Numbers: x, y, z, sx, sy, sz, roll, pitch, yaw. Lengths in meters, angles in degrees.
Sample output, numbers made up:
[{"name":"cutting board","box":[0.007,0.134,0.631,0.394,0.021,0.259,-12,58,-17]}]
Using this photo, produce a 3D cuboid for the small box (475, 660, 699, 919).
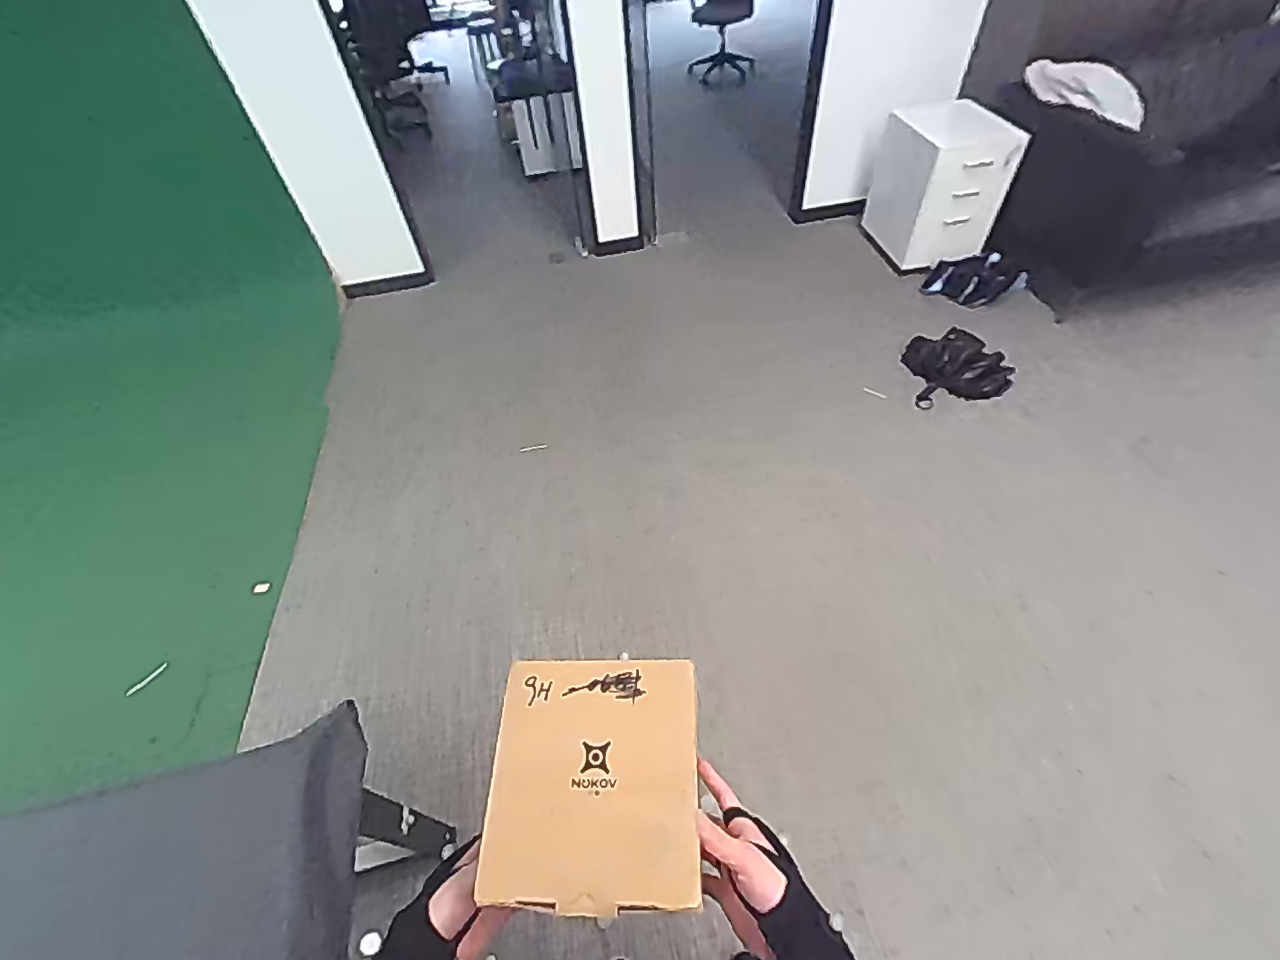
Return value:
[{"name":"small box","box":[-0.030,0.276,0.492,0.168,0.176,0.179,-1,55,4]}]
